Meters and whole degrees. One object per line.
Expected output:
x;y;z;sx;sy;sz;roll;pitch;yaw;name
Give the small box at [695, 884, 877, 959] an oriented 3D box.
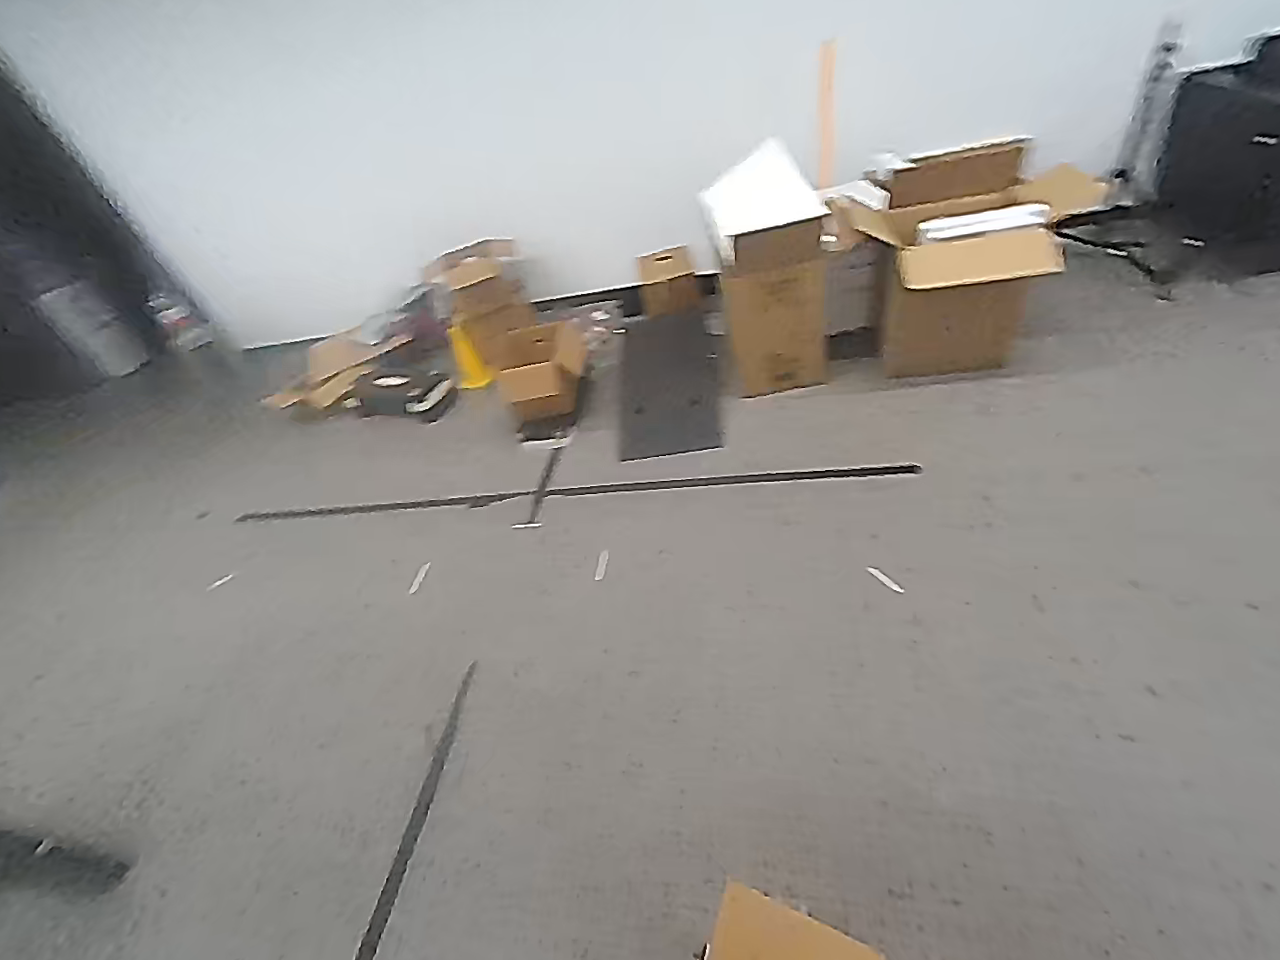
0.144;0.588;0.596;0.179;0.176;0.168;15;48;17;small box
